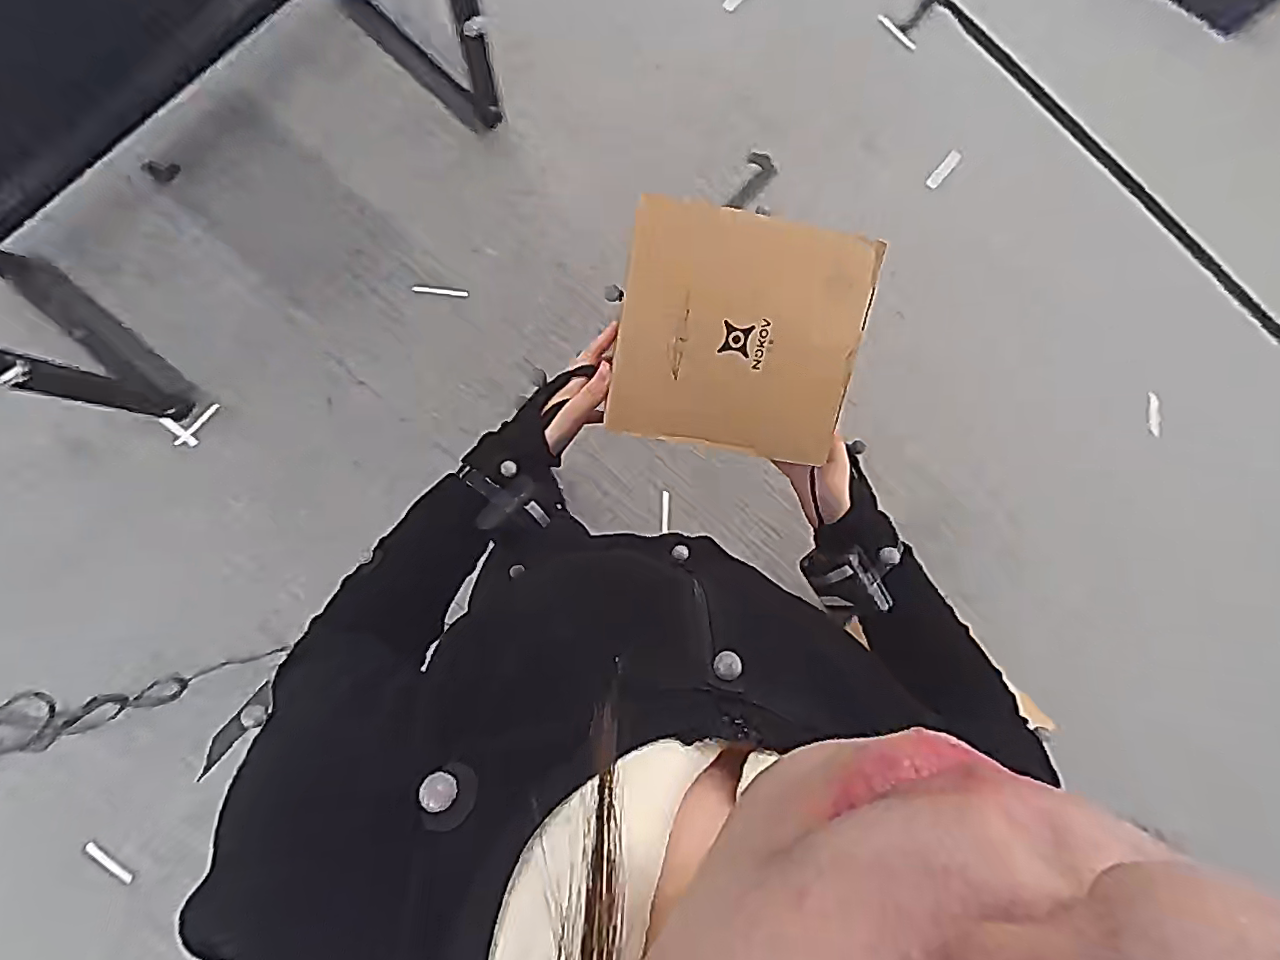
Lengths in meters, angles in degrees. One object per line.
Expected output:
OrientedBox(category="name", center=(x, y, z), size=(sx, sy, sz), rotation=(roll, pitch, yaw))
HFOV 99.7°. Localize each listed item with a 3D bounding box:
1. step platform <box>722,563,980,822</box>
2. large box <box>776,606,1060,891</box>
OrientedBox(category="step platform", center=(0.553, 0.537, 1.429), size=(0.684, 0.204, 0.286), rotation=(-42, 92, -7))
OrientedBox(category="large box", center=(0.579, 0.548, 1.191), size=(0.320, 0.320, 0.408), rotation=(43, 83, -3))
